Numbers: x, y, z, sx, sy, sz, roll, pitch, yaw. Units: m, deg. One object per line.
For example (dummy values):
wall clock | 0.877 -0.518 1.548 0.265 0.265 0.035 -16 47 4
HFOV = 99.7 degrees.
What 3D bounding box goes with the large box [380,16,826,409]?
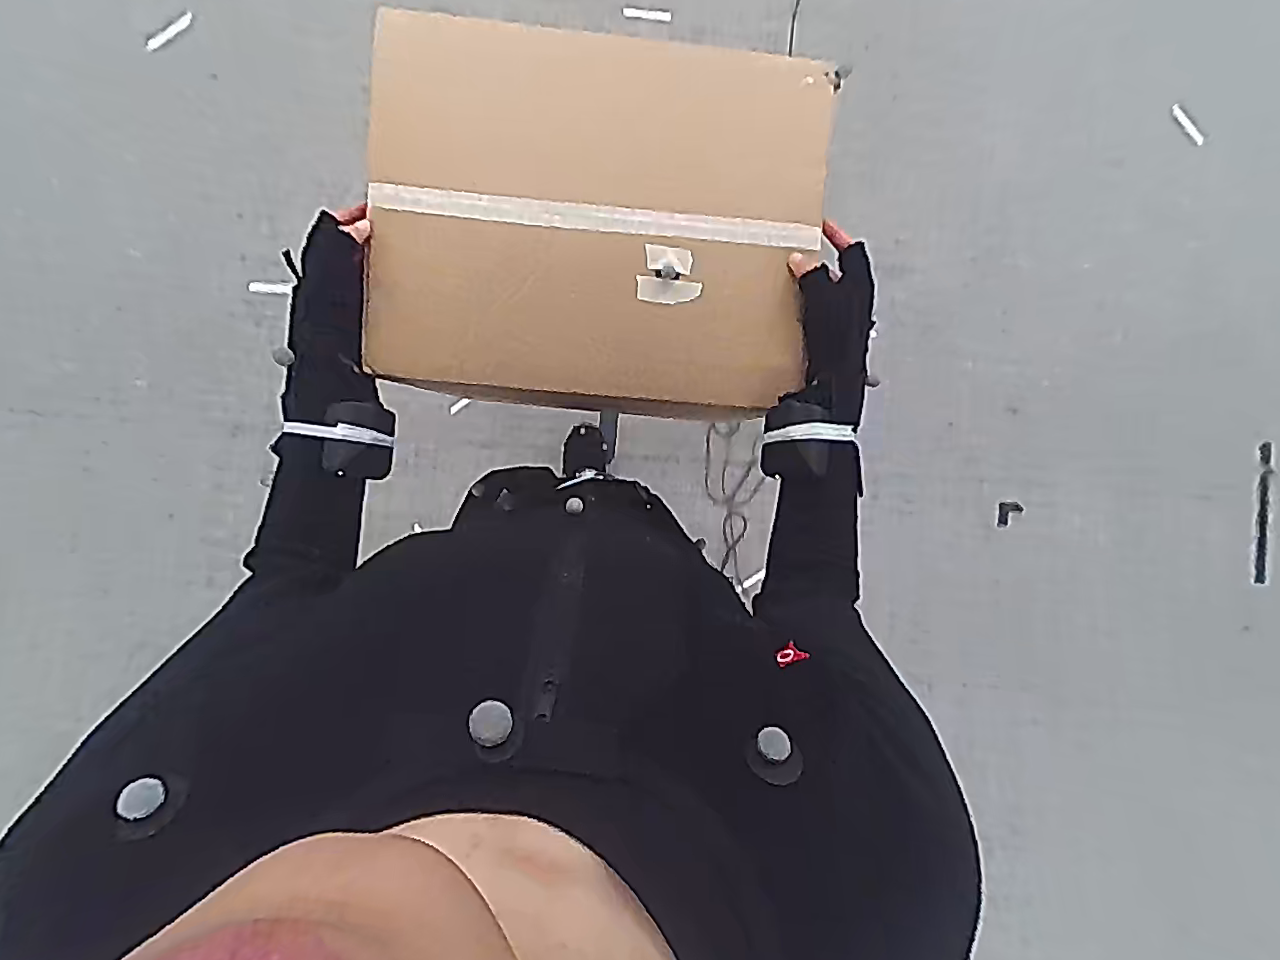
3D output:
large box | -0.044 -0.260 0.649 0.408 0.320 0.320 5 95 -3
